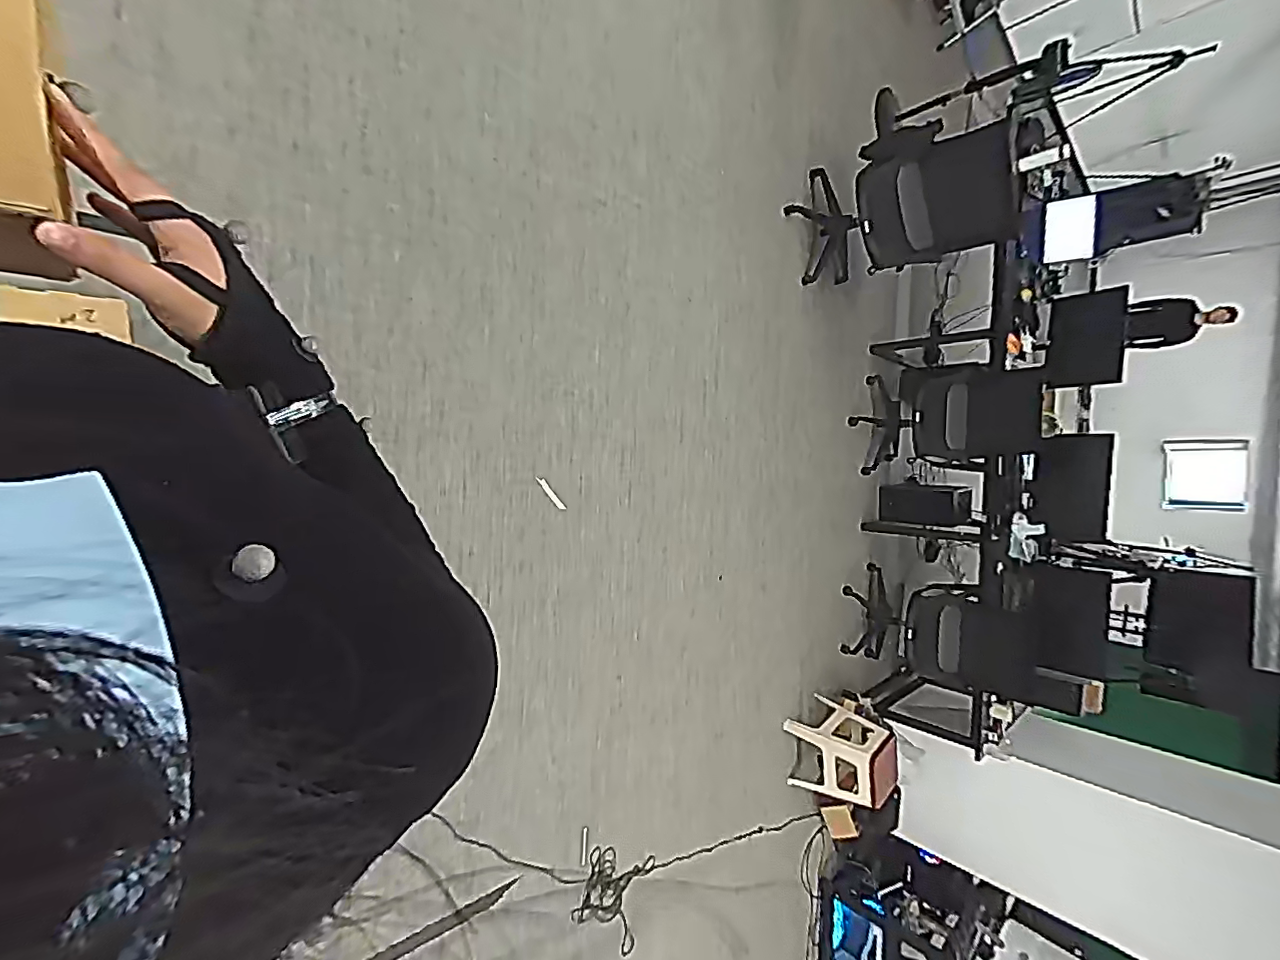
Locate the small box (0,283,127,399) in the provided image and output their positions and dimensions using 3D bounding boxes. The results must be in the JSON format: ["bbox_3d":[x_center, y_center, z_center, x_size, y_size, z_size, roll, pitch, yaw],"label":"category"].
[{"bbox_3d":[-1.057,-0.243,0.990,0.168,0.176,0.179,-4,94,-44],"label":"small box"}]
